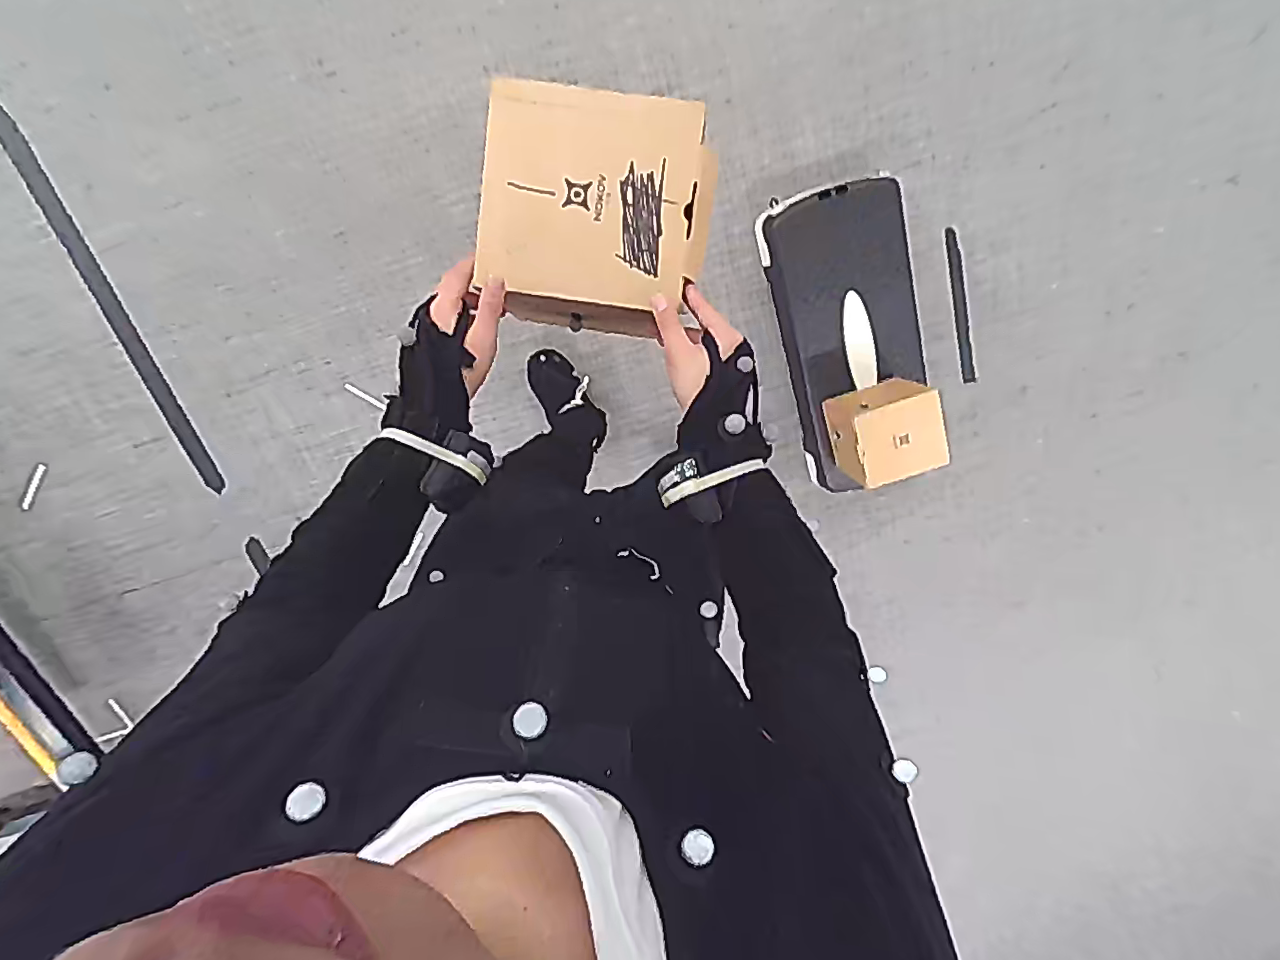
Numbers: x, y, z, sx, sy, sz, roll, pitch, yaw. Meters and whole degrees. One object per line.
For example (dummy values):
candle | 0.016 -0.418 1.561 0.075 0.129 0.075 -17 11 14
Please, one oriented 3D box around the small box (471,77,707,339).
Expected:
small box | -0.042 -0.234 0.514 0.179 0.176 0.168 8 97 0

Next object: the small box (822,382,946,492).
small box | 0.521 -0.100 1.169 0.179 0.176 0.168 -19 108 4
